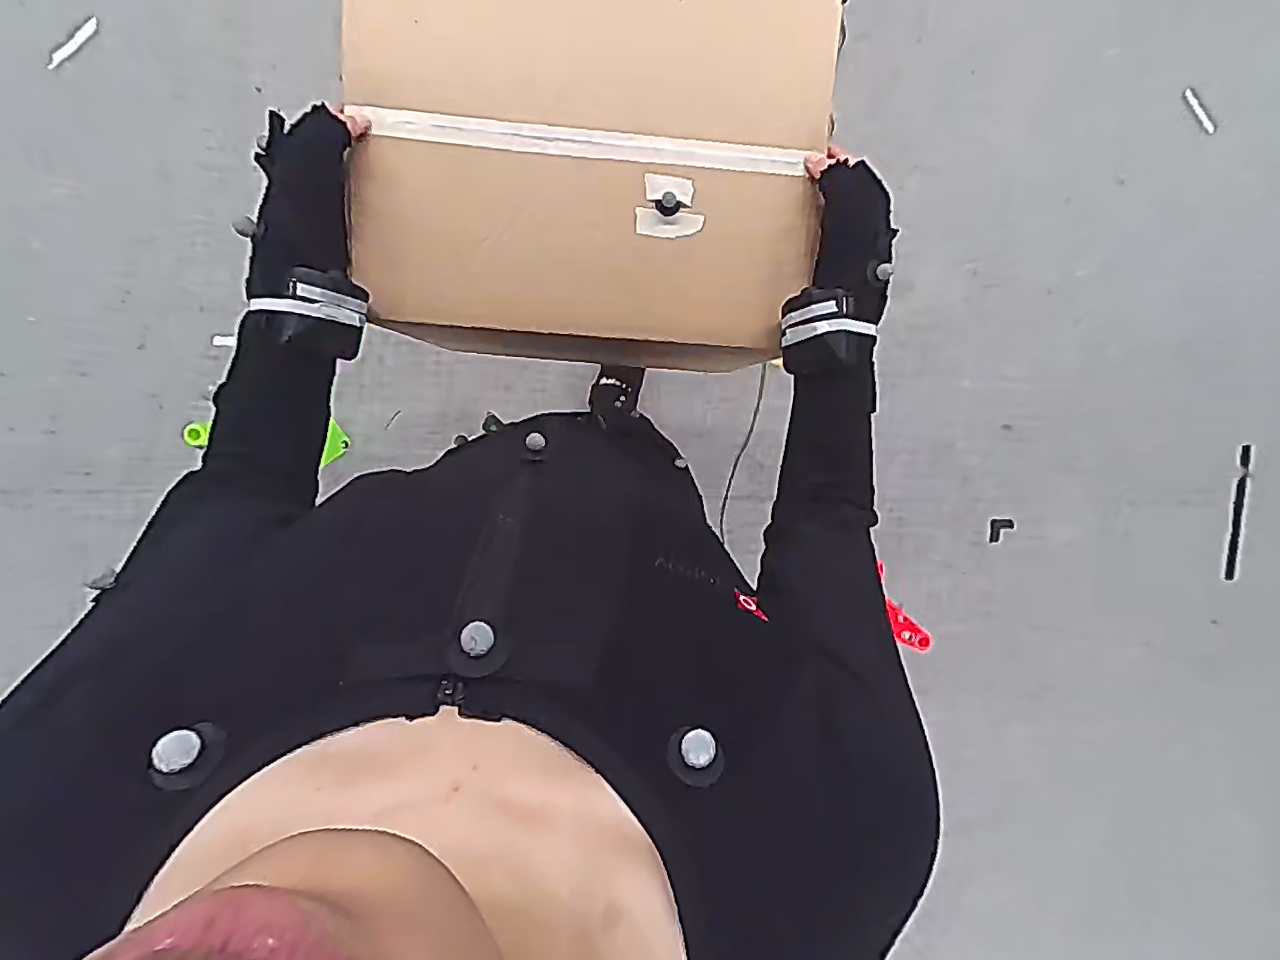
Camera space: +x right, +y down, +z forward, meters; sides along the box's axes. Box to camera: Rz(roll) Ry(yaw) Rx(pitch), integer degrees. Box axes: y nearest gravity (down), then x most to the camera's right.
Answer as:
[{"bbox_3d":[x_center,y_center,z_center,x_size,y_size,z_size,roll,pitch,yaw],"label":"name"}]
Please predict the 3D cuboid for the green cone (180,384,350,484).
[{"bbox_3d":[-0.865,-0.103,1.211,0.202,0.368,0.200,-36,95,1],"label":"green cone"}]

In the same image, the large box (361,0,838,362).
[{"bbox_3d":[-0.046,-0.312,0.610,0.408,0.320,0.320,3,98,-5],"label":"large box"}]

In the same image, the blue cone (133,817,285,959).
[{"bbox_3d":[-1.049,1.011,1.293,0.192,0.380,0.193,5,93,-3],"label":"blue cone"}]
